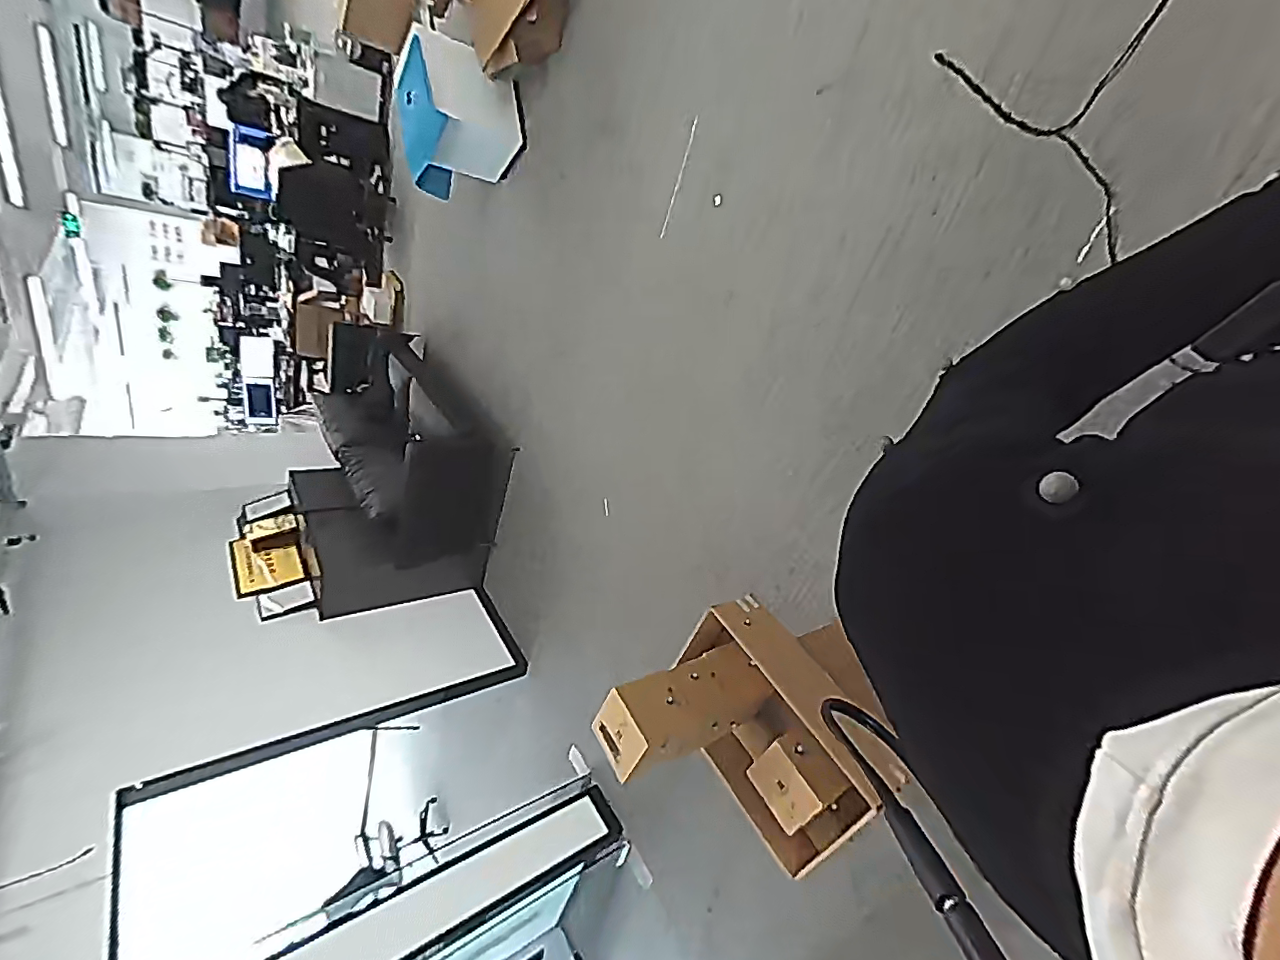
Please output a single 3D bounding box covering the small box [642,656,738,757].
[{"bbox_3d":[0.141,0.609,1.473,0.168,0.176,0.179,50,129,36],"label":"small box"}]
